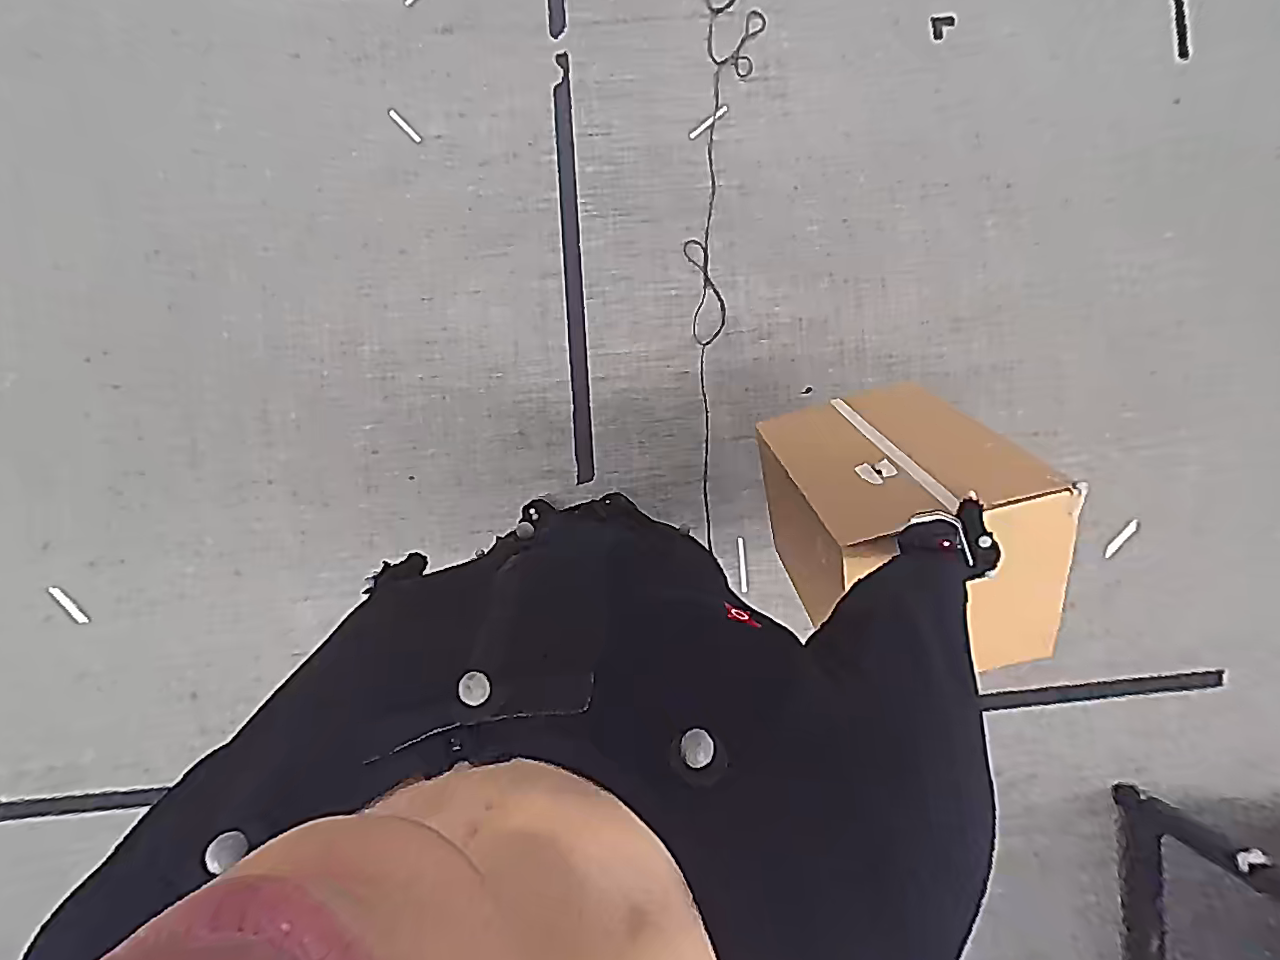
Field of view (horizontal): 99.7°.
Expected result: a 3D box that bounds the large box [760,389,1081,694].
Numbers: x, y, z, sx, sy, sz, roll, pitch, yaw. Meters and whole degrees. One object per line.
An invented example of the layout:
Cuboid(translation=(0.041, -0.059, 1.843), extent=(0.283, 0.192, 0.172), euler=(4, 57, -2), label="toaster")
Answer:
Cuboid(translation=(0.431, 0.084, 0.943), extent=(0.320, 0.408, 0.320), euler=(-15, 121, 2), label="large box")
